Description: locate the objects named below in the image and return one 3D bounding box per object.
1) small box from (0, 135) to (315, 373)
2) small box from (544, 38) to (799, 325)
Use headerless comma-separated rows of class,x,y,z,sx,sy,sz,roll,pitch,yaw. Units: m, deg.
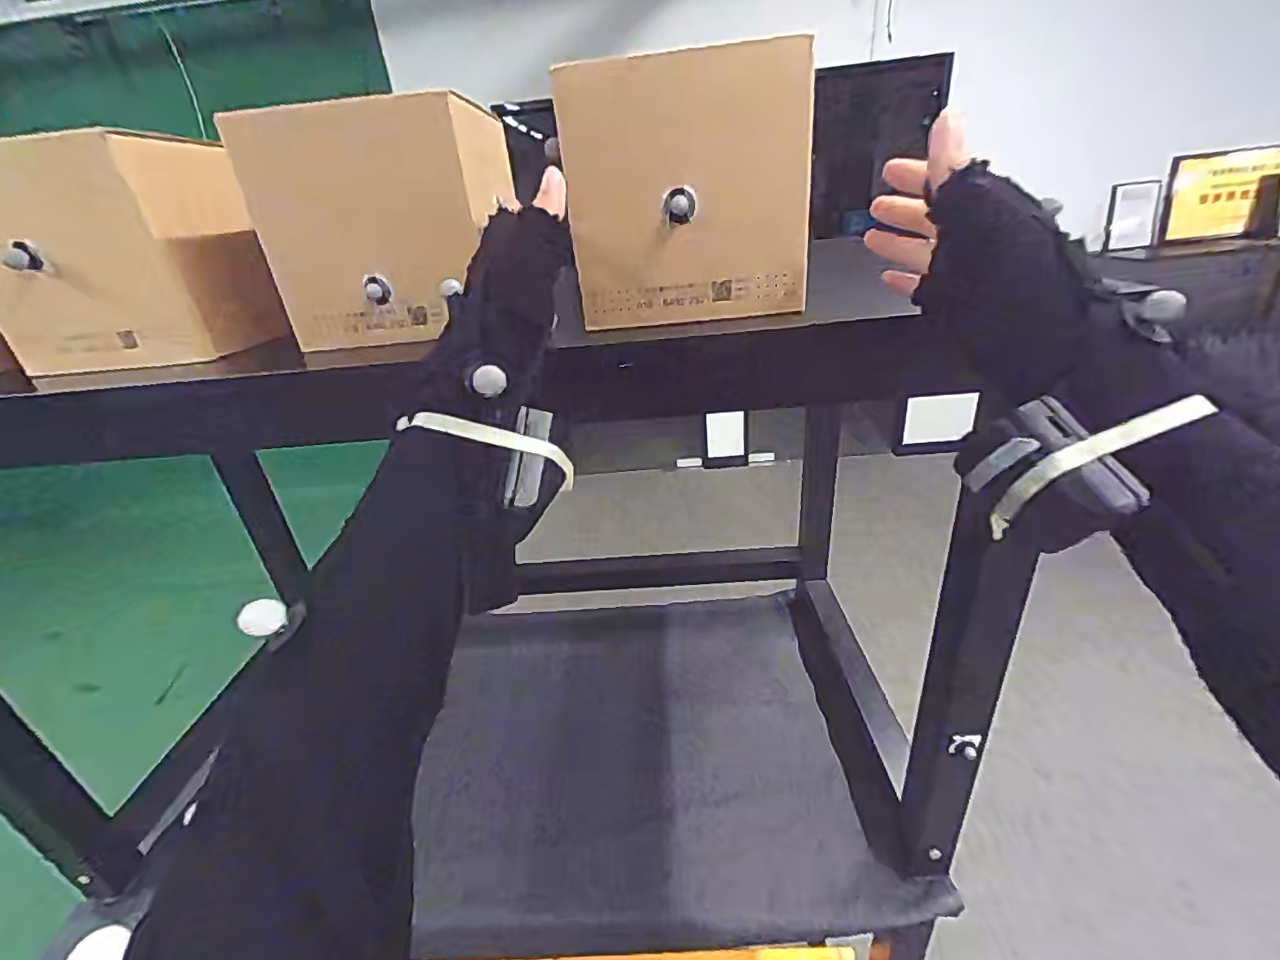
small box,-0.441,-0.199,0.496,0.168,0.176,0.179,-4,26,5
small box,0.031,-0.227,0.446,0.168,0.176,0.179,-3,27,5
